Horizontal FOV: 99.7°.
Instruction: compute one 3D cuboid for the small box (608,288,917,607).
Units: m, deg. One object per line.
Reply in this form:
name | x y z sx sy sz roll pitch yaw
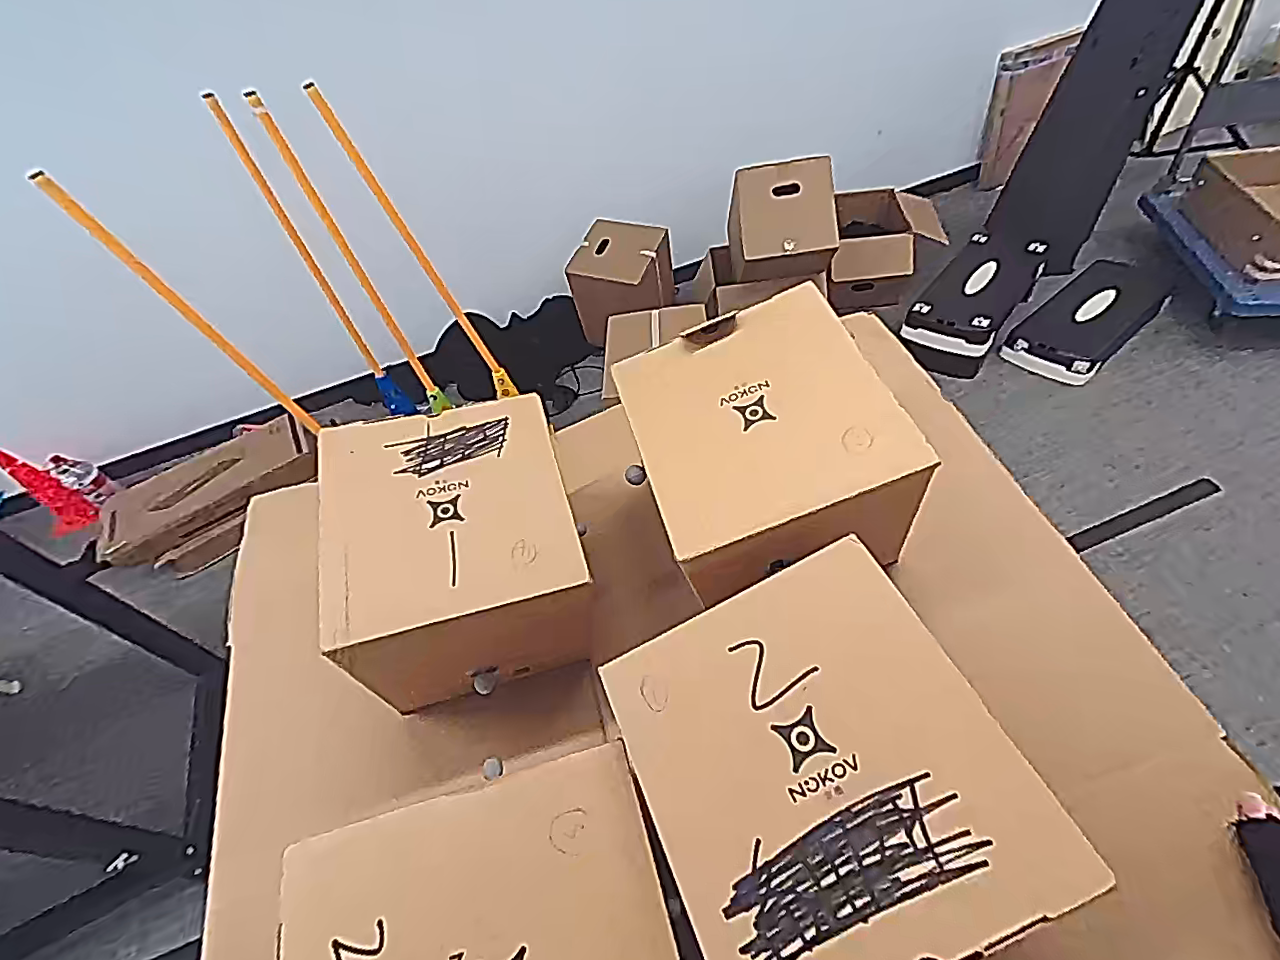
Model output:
small box | 0.093 -0.011 0.441 0.168 0.176 0.179 -22 56 5
